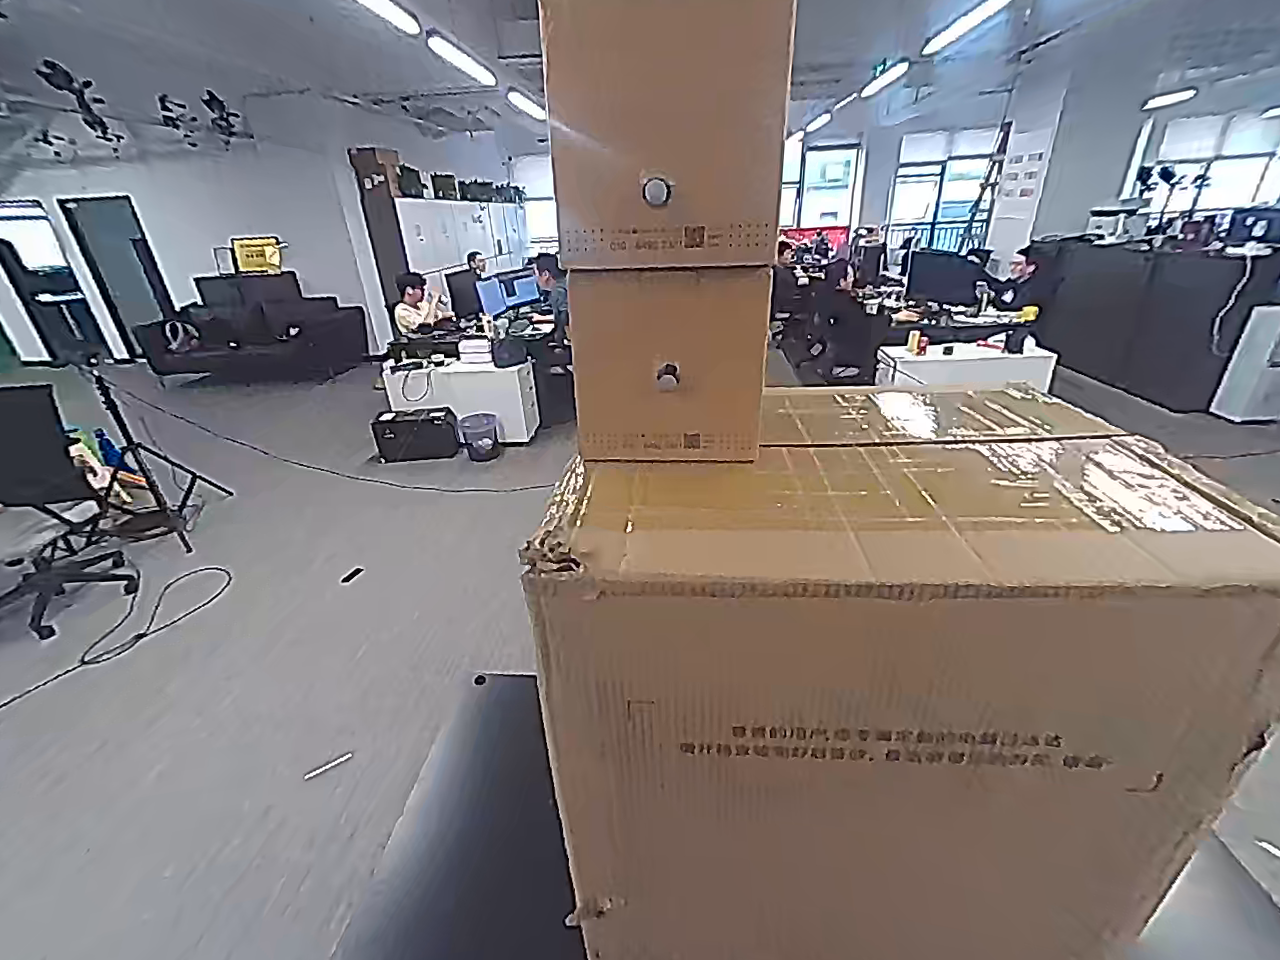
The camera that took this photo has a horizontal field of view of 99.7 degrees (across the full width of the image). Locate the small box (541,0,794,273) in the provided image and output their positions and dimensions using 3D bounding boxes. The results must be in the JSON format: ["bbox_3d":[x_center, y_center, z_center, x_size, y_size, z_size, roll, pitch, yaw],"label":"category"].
[{"bbox_3d":[0.025,-0.270,0.450,0.168,0.176,0.179,1,26,6],"label":"small box"}]

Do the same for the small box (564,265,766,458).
[{"bbox_3d":[0.029,-0.128,0.537,0.168,0.176,0.179,0,26,4],"label":"small box"}]
